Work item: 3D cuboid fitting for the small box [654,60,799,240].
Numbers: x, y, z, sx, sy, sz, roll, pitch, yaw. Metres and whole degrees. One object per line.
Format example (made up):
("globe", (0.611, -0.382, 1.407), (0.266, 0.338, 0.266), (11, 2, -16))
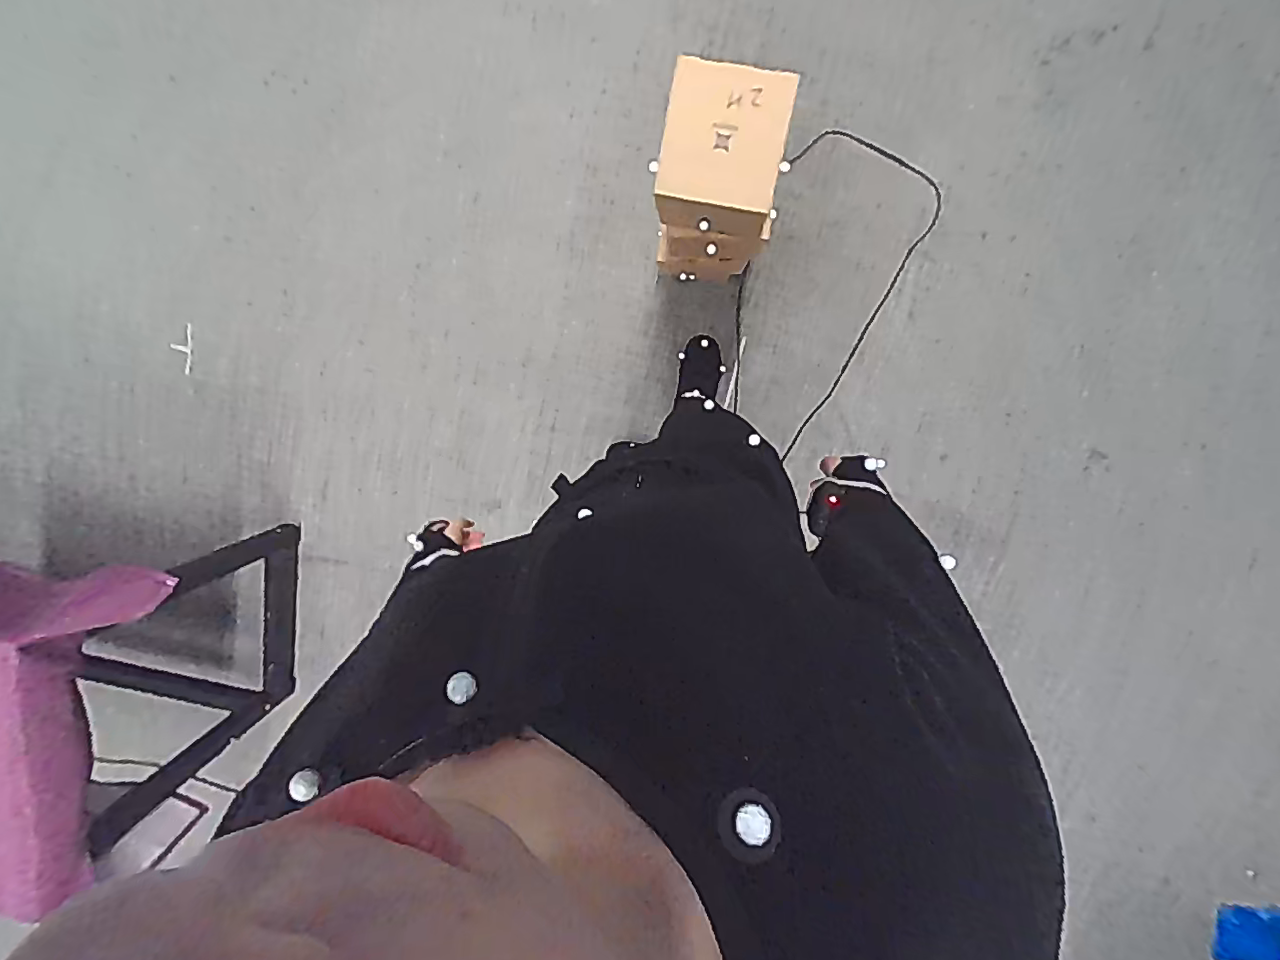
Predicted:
("small box", (0.125, -0.481, 0.818), (0.168, 0.176, 0.179), (13, 103, 3))

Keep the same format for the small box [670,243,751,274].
("small box", (0.151, -0.536, 1.139), (0.168, 0.176, 0.179), (1, 101, 6))

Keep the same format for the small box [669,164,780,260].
("small box", (0.149, -0.503, 0.979), (0.179, 0.176, 0.168), (4, 102, 6))
